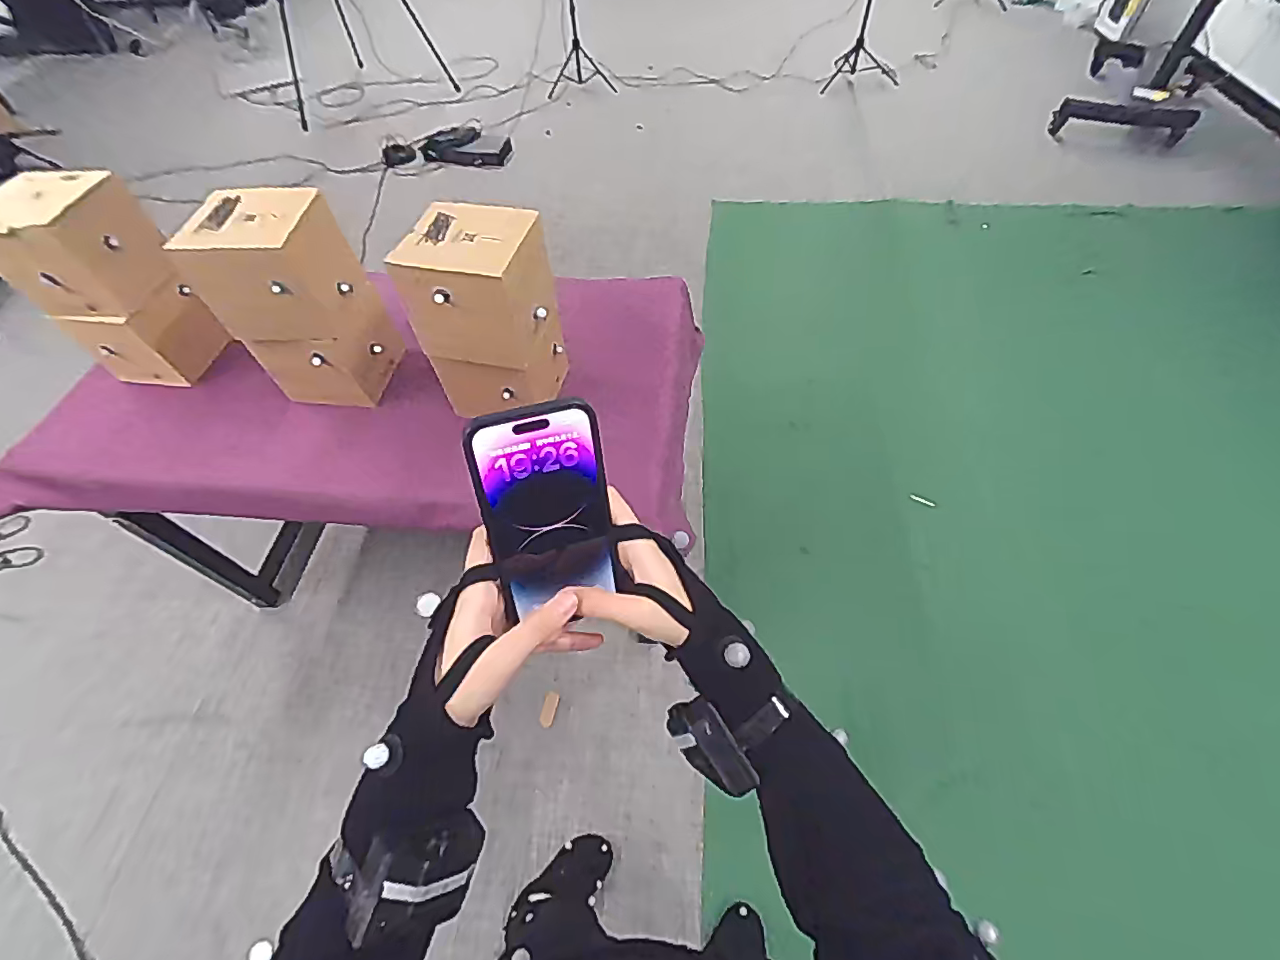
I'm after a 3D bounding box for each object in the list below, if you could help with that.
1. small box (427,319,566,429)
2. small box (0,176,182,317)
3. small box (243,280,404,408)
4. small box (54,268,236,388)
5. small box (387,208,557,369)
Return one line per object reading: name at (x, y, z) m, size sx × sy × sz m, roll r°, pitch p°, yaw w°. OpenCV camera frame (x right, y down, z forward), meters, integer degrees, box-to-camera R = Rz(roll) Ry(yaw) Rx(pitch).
small box at (-0.246, -0.213, 0.983) m, size 0.179 × 0.176 × 0.168 m, roll 10°, pitch 56°, yaw 10°
small box at (-0.971, -0.404, 0.949) m, size 0.168 × 0.176 × 0.179 m, roll 1°, pitch 56°, yaw 3°
small box at (-0.581, -0.254, 1.025) m, size 0.179 × 0.176 × 0.168 m, roll 5°, pitch 55°, yaw 6°
small box at (-0.965, -0.303, 1.079) m, size 0.168 × 0.176 × 0.179 m, roll 5°, pitch 55°, yaw 6°
small box at (-0.245, -0.294, 0.839) m, size 0.179 × 0.176 × 0.168 m, roll 10°, pitch 56°, yaw 9°
